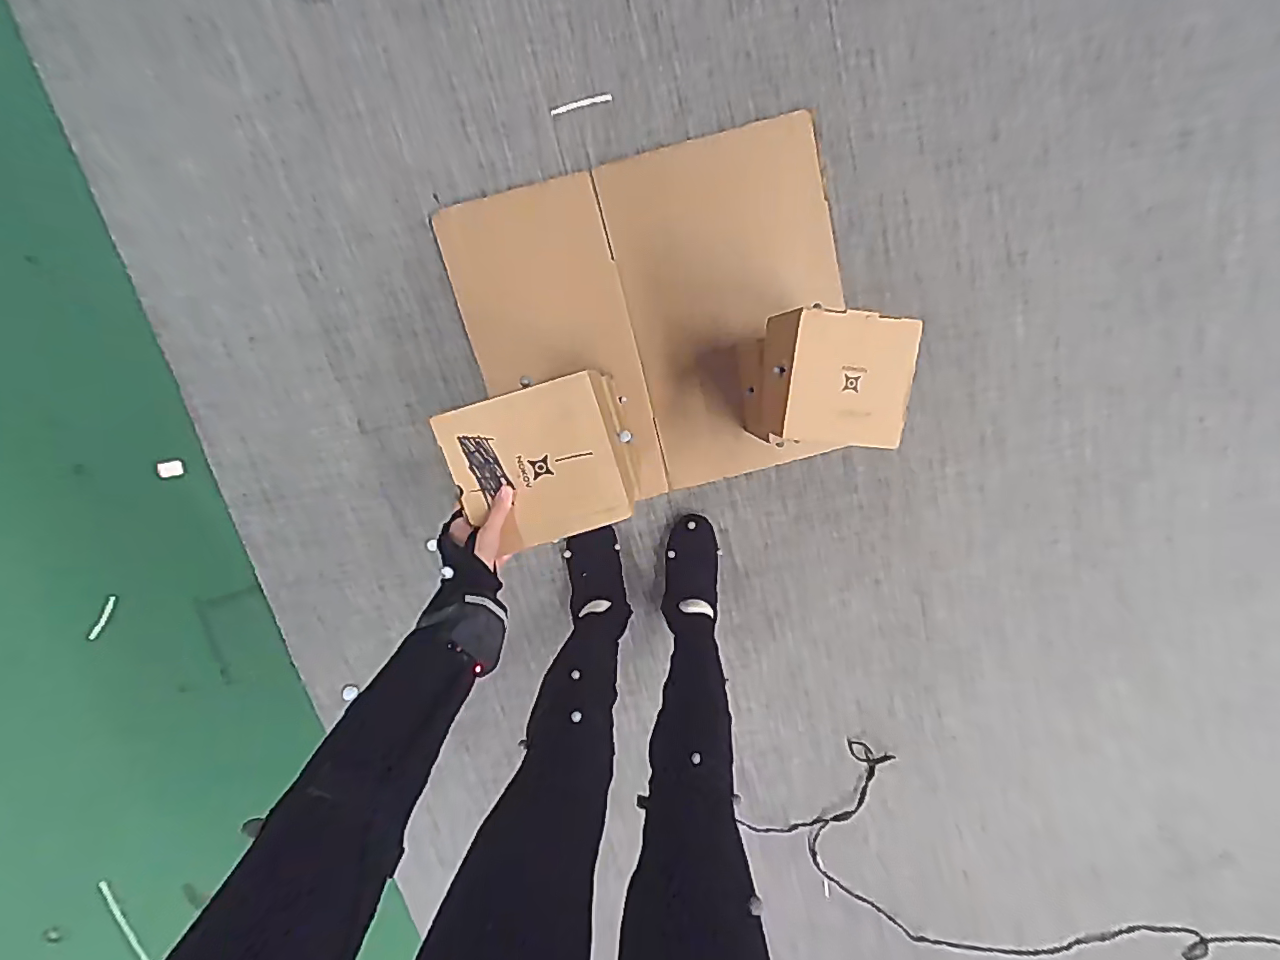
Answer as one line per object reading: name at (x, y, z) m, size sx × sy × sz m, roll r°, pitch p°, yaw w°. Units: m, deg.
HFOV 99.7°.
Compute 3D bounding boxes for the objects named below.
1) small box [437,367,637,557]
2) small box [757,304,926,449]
small box at (-0.107, -0.029, 0.644) m, size 0.179 × 0.176 × 0.168 m, roll -16°, pitch 101°, yaw 2°
small box at (0.281, -0.150, 0.793) m, size 0.168 × 0.176 × 0.179 m, roll 6°, pitch 102°, yaw -4°
